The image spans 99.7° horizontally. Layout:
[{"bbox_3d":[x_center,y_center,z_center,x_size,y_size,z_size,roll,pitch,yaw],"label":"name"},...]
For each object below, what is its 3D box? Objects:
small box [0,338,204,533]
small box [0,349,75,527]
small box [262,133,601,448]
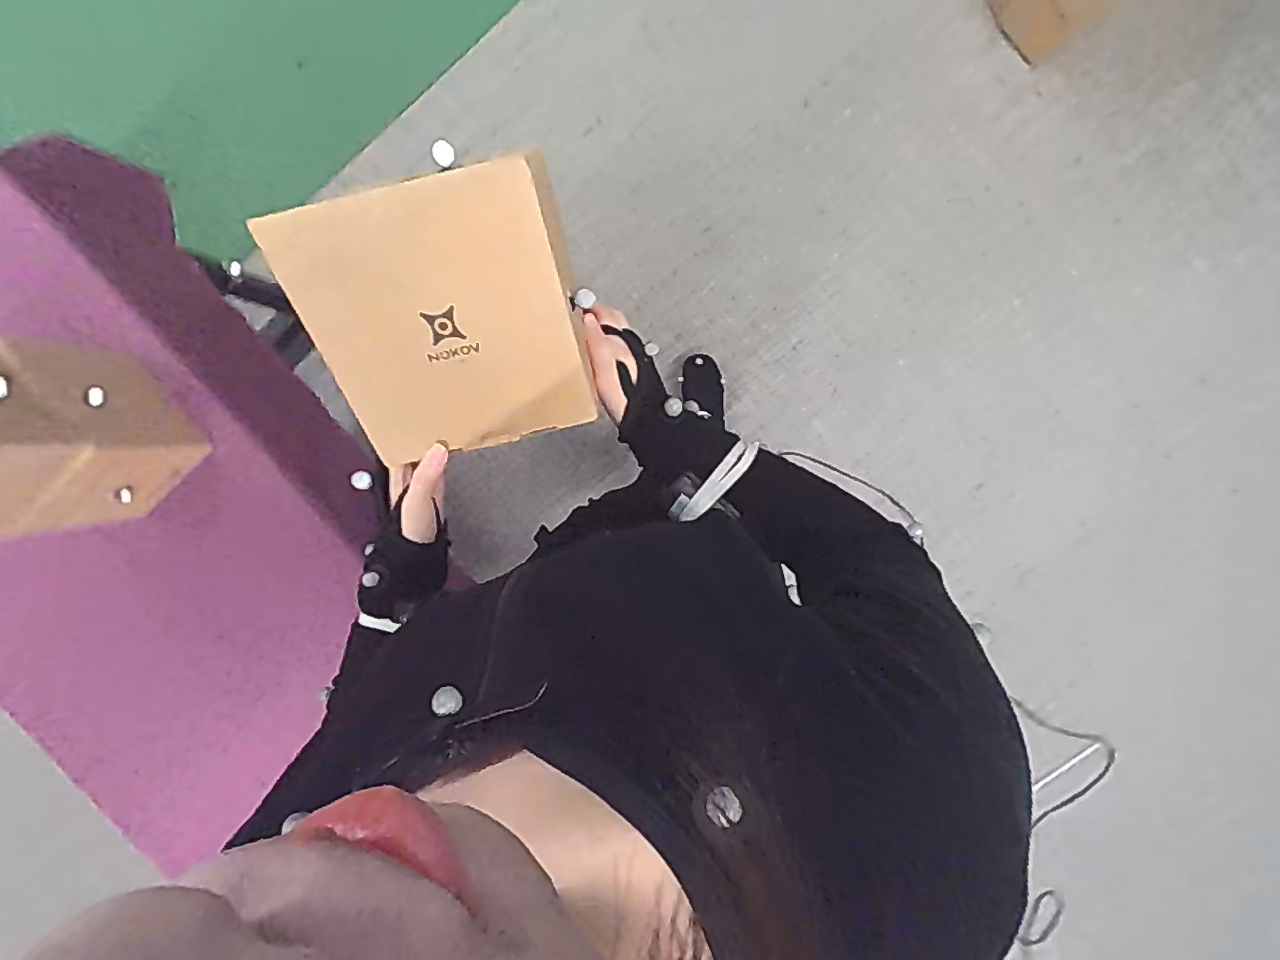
[{"bbox_3d":[-0.745,-0.059,0.715,0.168,0.176,0.179,-40,91,5],"label":"small box"},{"bbox_3d":[-0.761,-0.040,0.552,0.179,0.176,0.168,-43,91,5],"label":"small box"},{"bbox_3d":[-0.130,-0.153,0.416,0.168,0.176,0.179,-11,126,1],"label":"small box"}]
